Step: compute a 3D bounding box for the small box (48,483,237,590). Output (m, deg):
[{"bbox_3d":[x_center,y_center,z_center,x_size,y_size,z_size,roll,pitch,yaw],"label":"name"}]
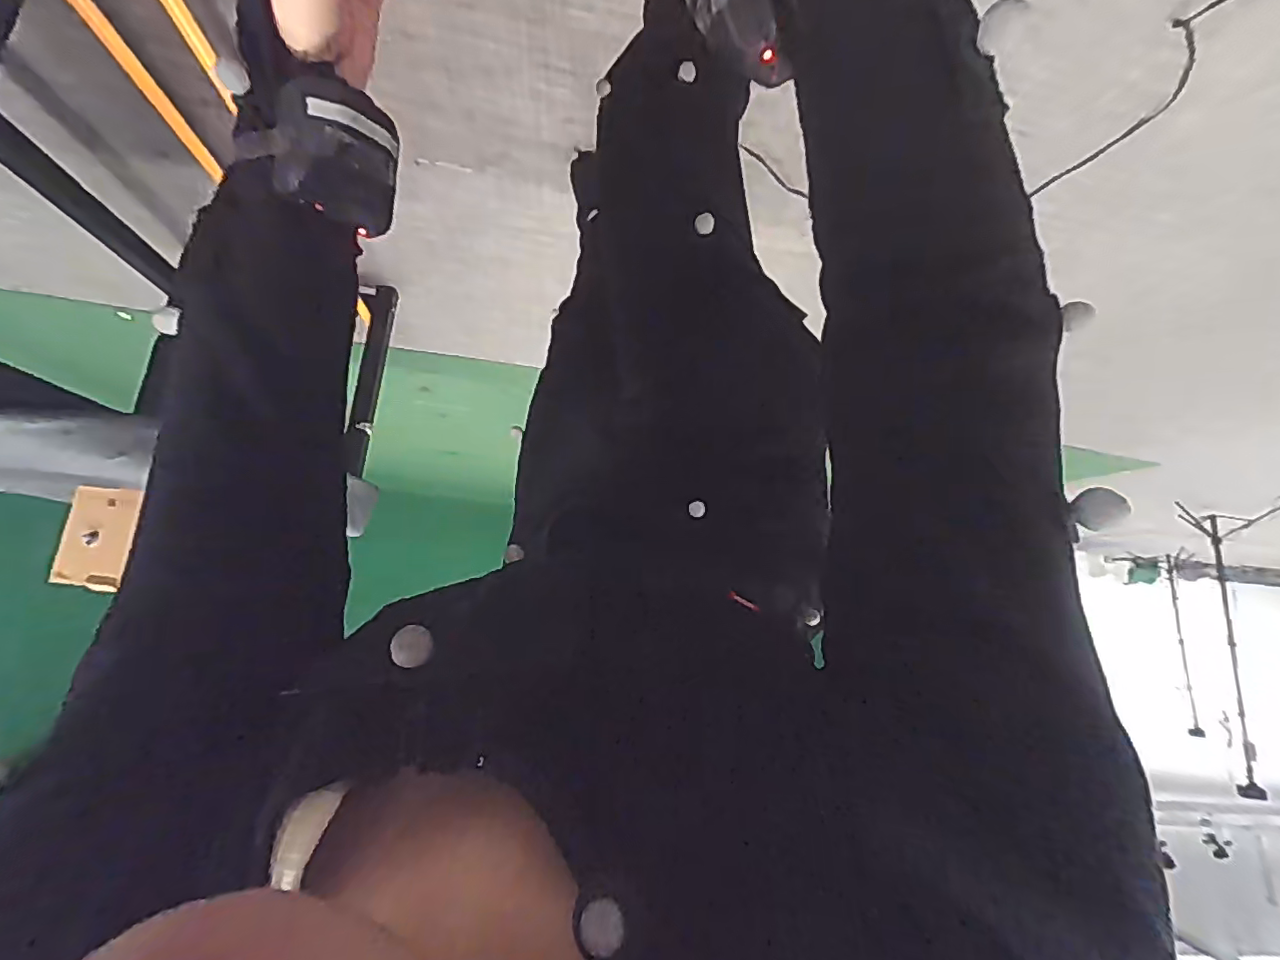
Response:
[{"bbox_3d":[-0.883,0.106,0.981,0.168,0.176,0.179,8,168,-4],"label":"small box"}]
